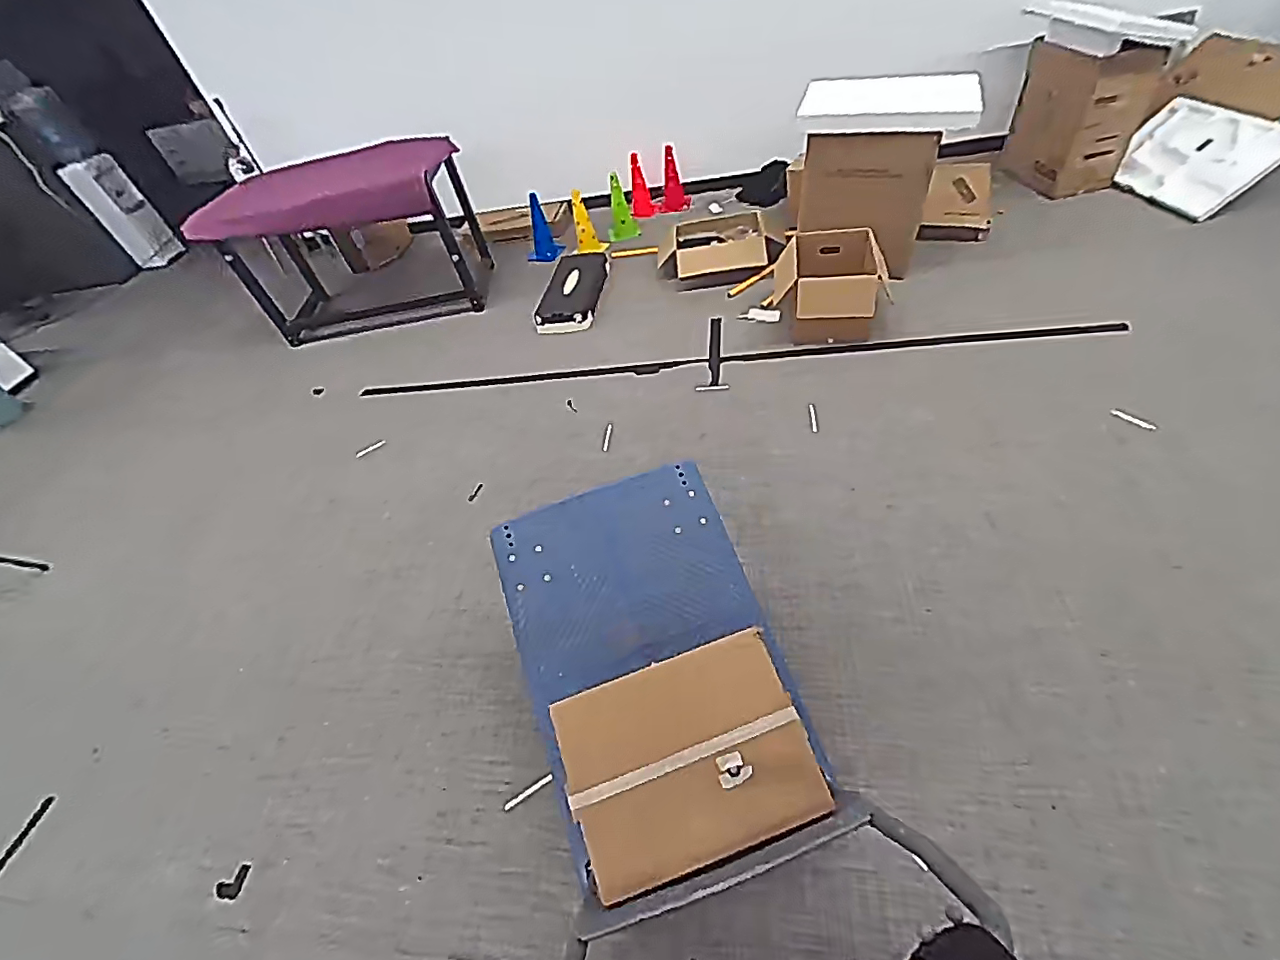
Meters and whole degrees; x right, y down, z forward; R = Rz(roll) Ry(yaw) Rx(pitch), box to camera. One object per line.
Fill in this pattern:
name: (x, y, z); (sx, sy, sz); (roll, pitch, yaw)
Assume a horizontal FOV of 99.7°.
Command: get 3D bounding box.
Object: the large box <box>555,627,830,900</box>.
large box: (0.086, 0.534, 1.073); (0.408, 0.320, 0.320); (-19, 68, -7)
